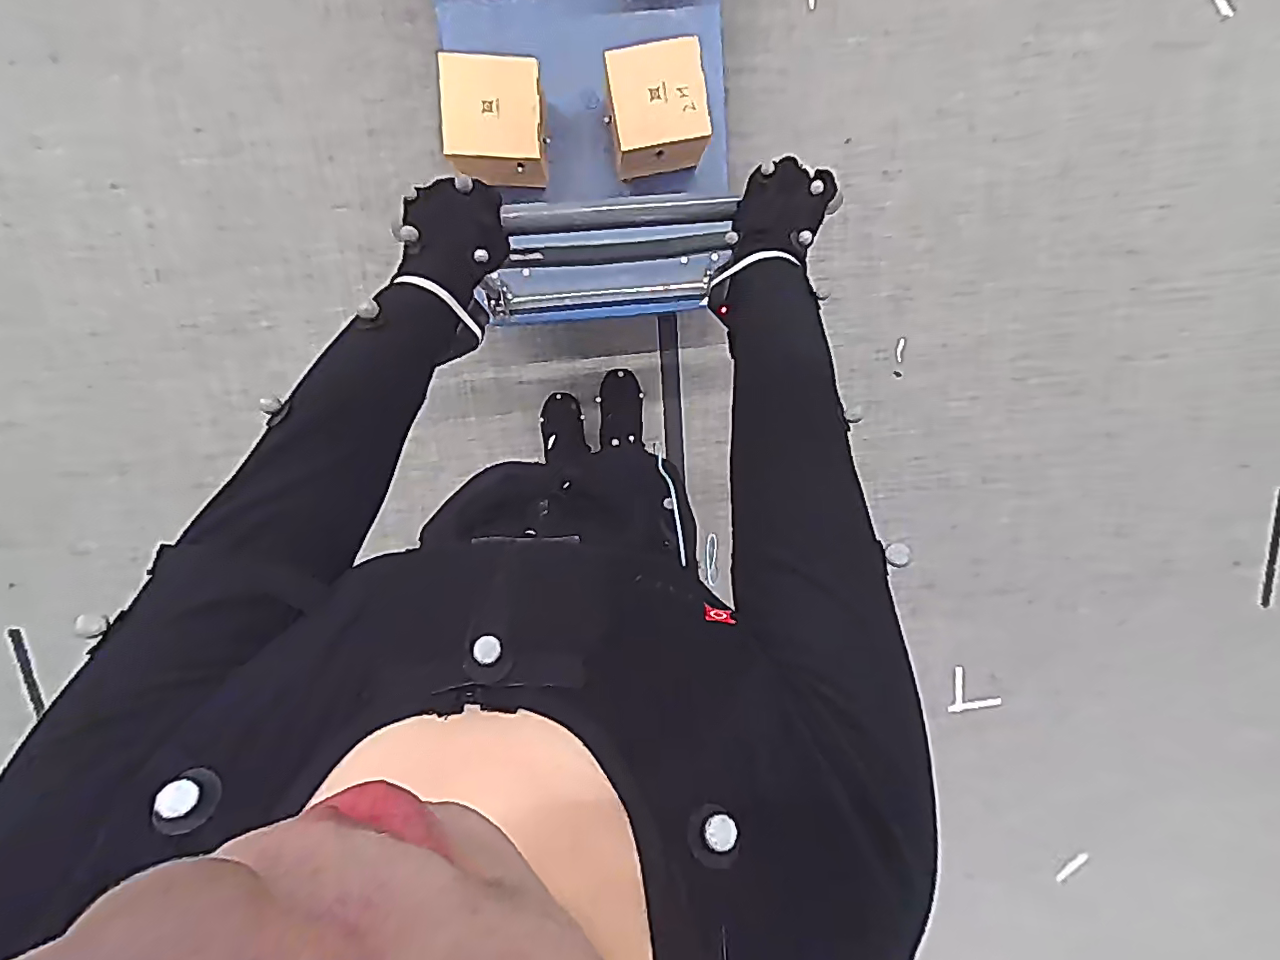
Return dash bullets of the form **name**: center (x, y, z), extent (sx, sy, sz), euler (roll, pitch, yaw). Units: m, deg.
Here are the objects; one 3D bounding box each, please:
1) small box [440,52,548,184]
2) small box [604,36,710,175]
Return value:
- **small box**: center (-0.275, -0.694, 1.055), extent (0.179, 0.176, 0.168), euler (0, 102, -5)
- **small box**: center (0.030, -0.726, 1.068), extent (0.179, 0.176, 0.168), euler (-11, 104, -1)
